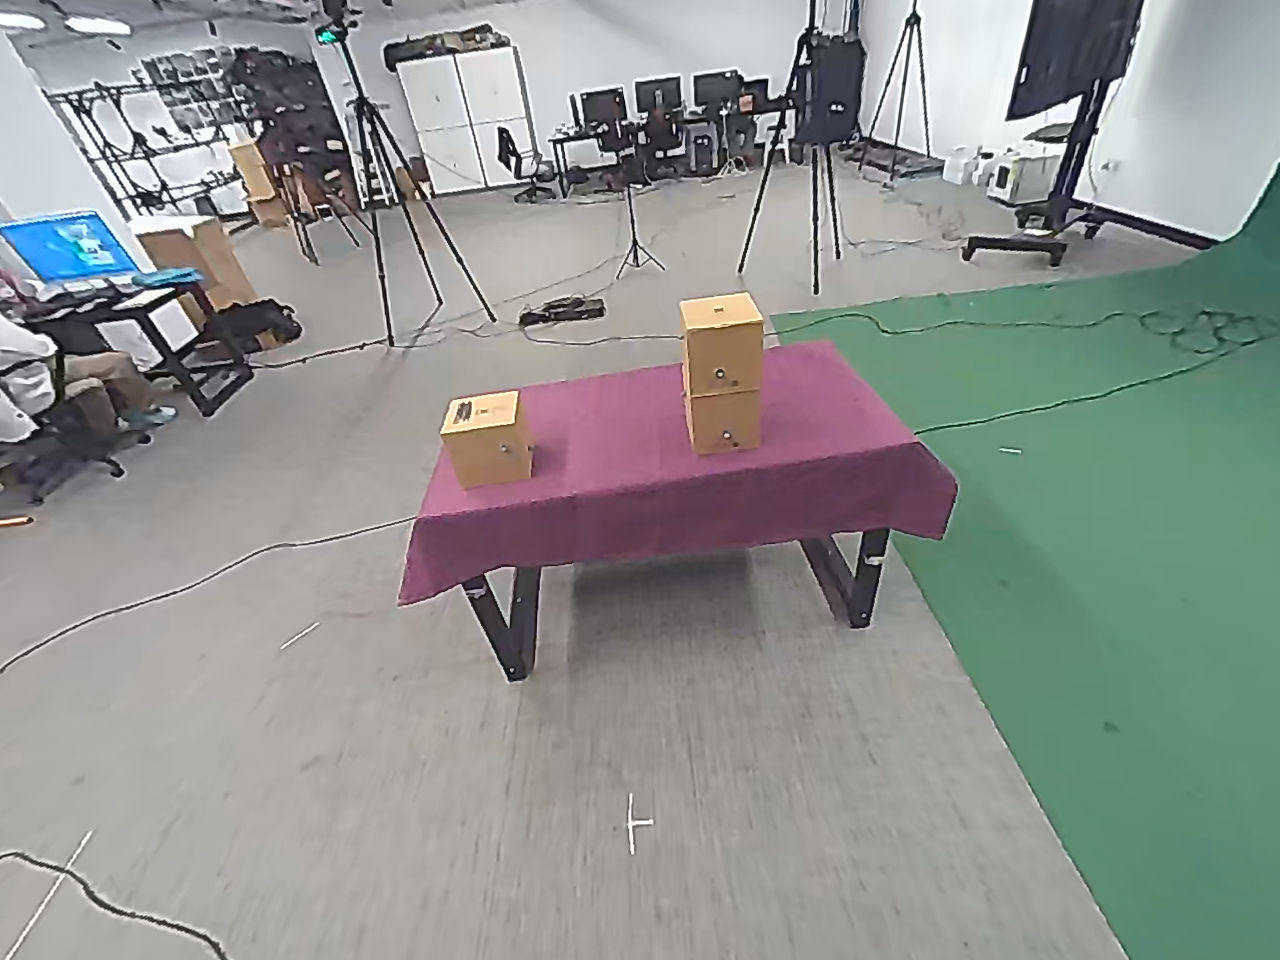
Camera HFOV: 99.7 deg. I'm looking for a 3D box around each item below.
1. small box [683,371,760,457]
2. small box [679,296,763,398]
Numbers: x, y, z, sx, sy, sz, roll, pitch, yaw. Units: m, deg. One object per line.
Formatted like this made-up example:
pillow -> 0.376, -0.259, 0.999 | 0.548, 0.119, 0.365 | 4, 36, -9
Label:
small box -> 0.199, -0.180, 1.354 | 0.168, 0.176, 0.179 | -7, 38, 3
small box -> 0.183, -0.308, 1.255 | 0.168, 0.176, 0.179 | -7, 38, 2
